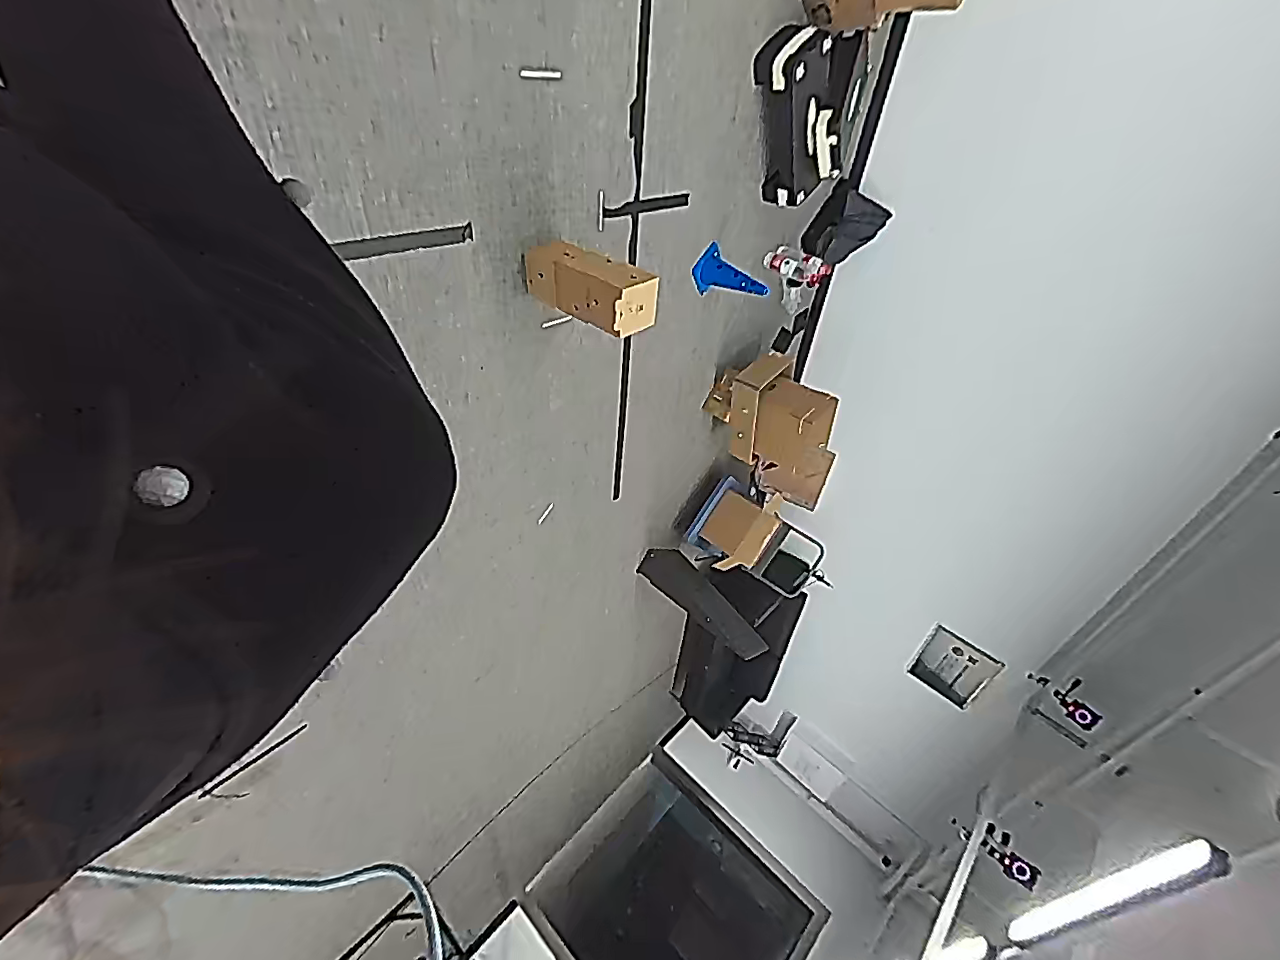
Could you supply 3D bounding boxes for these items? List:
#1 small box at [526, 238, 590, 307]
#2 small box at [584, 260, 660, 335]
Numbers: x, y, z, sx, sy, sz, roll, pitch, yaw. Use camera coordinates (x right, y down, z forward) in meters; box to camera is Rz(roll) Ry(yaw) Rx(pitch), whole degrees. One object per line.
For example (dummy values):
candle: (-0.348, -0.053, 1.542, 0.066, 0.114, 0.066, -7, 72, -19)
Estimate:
small box: (-0.297, -0.751, 1.947, 0.179, 0.176, 0.168, -35, 145, -33)
small box: (-0.062, -0.601, 1.767, 0.179, 0.176, 0.168, -32, 144, -35)
